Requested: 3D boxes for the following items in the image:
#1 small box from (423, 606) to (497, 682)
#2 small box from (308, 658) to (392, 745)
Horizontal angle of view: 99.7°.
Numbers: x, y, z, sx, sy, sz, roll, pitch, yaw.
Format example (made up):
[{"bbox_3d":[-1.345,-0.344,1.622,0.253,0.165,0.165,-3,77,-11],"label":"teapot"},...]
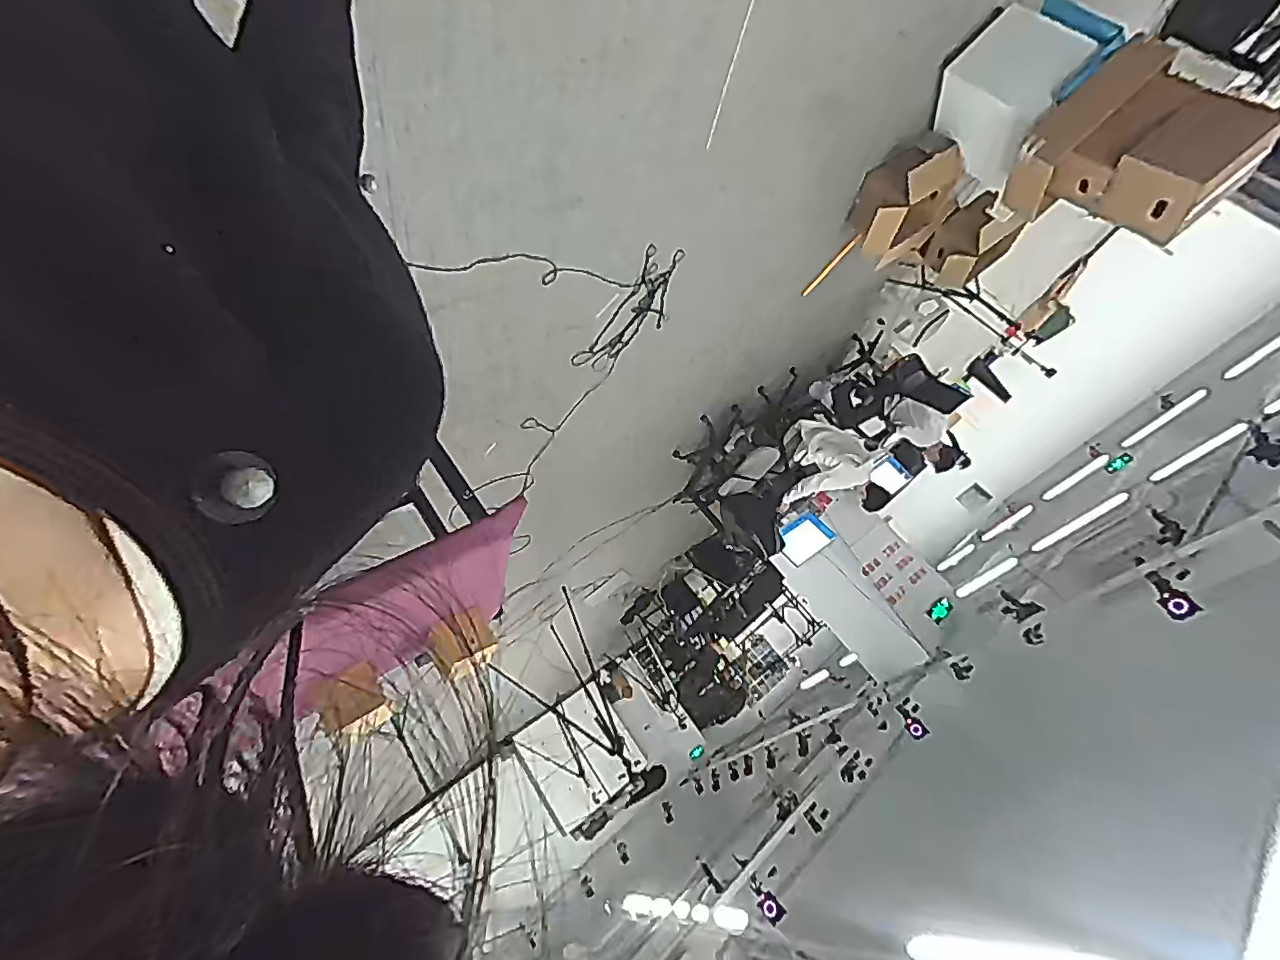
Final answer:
[{"bbox_3d":[-0.650,0.585,1.946,0.179,0.176,0.168,-18,149,-43],"label":"small box"},{"bbox_3d":[-0.921,0.702,1.723,0.179,0.176,0.168,-27,155,-33],"label":"small box"}]
